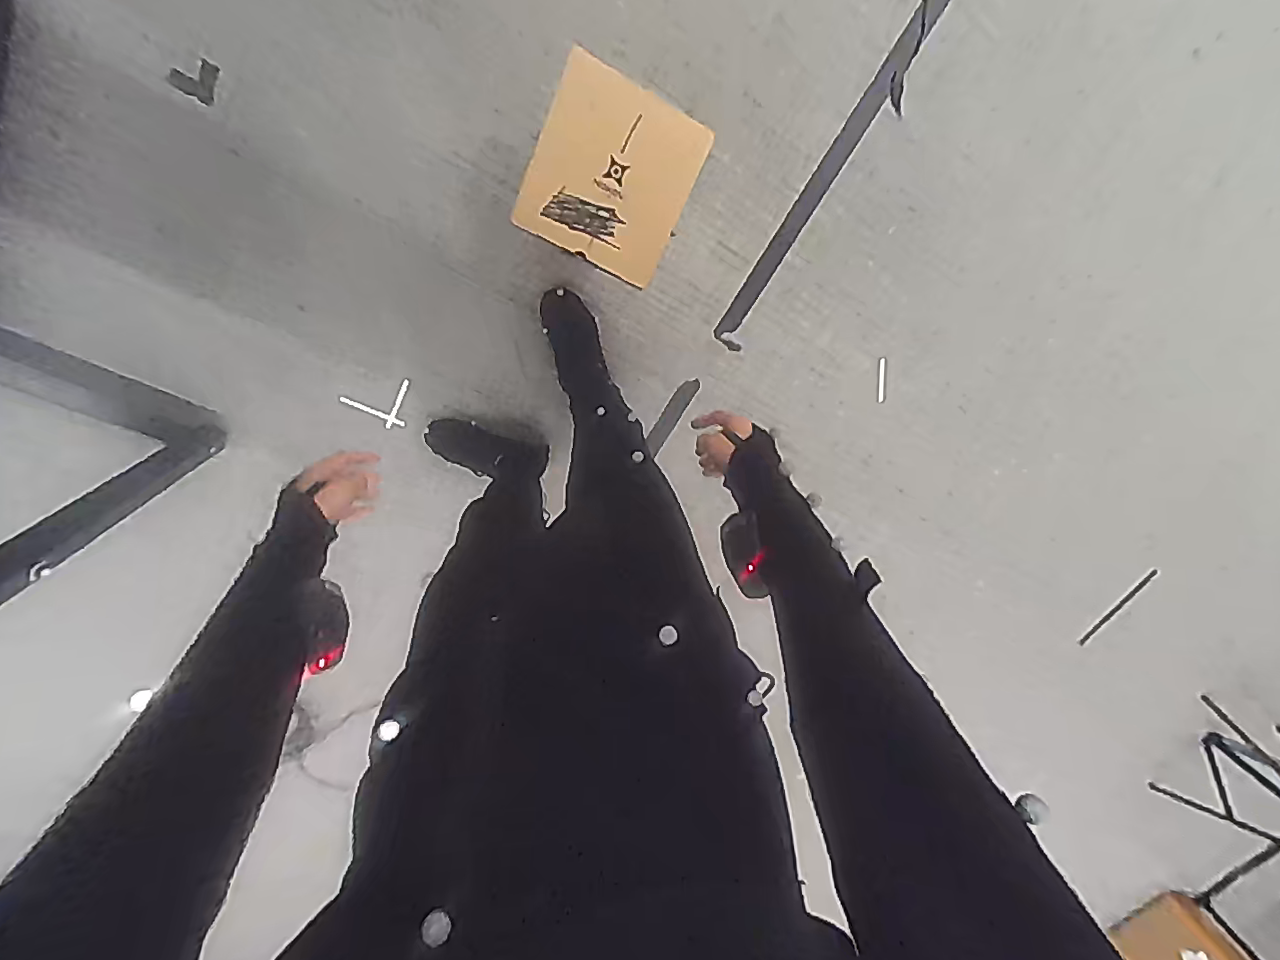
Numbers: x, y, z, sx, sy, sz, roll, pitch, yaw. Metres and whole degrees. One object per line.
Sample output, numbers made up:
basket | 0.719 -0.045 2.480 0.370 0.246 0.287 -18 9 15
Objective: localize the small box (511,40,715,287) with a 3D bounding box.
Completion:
small box | -0.038 -0.355 0.638 0.168 0.176 0.179 21 111 -17
